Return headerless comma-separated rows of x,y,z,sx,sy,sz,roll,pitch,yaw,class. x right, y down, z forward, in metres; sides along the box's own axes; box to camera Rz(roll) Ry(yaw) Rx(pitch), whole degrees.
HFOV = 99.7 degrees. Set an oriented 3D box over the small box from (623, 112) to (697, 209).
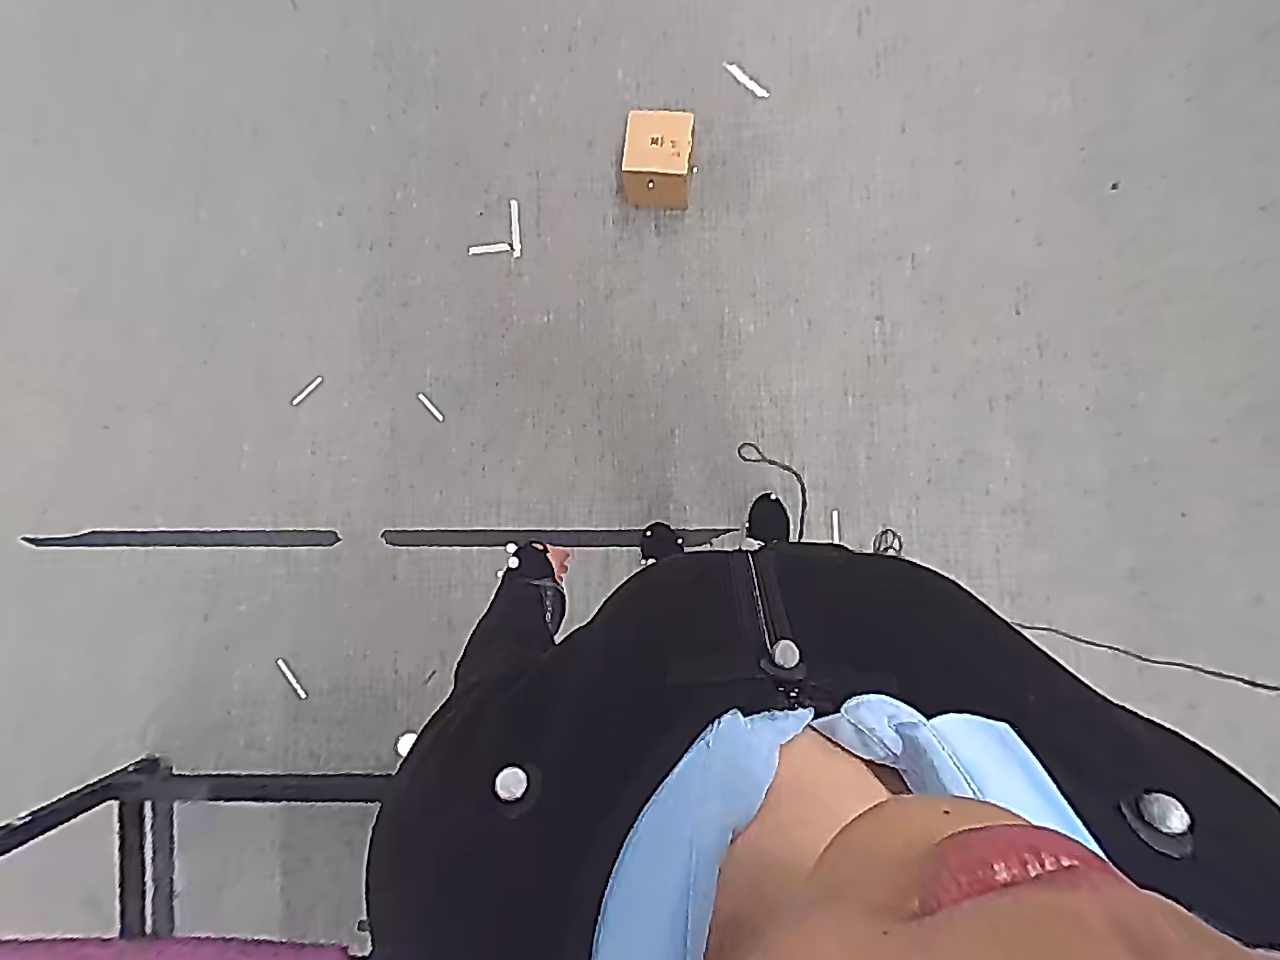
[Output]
0.060,-0.871,1.487,0.179,0.176,0.168,8,89,6,small box
